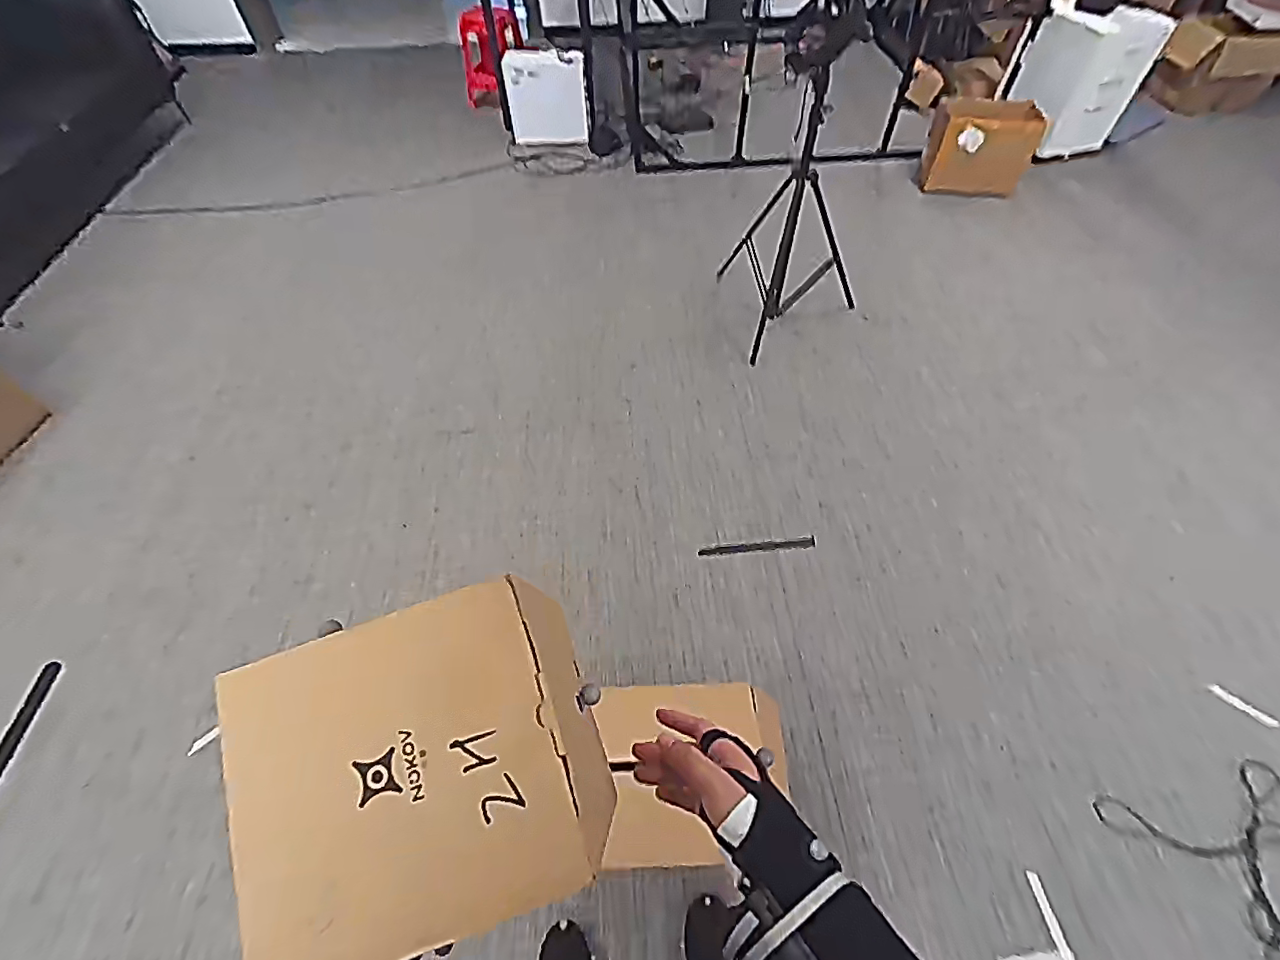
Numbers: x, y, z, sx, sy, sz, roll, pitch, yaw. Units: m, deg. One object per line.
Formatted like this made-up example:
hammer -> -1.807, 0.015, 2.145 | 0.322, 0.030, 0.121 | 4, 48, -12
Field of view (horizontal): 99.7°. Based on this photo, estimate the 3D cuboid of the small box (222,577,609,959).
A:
small box -> -0.131, 0.182, 0.369 | 0.179, 0.176, 0.168 | -19, 73, -5
